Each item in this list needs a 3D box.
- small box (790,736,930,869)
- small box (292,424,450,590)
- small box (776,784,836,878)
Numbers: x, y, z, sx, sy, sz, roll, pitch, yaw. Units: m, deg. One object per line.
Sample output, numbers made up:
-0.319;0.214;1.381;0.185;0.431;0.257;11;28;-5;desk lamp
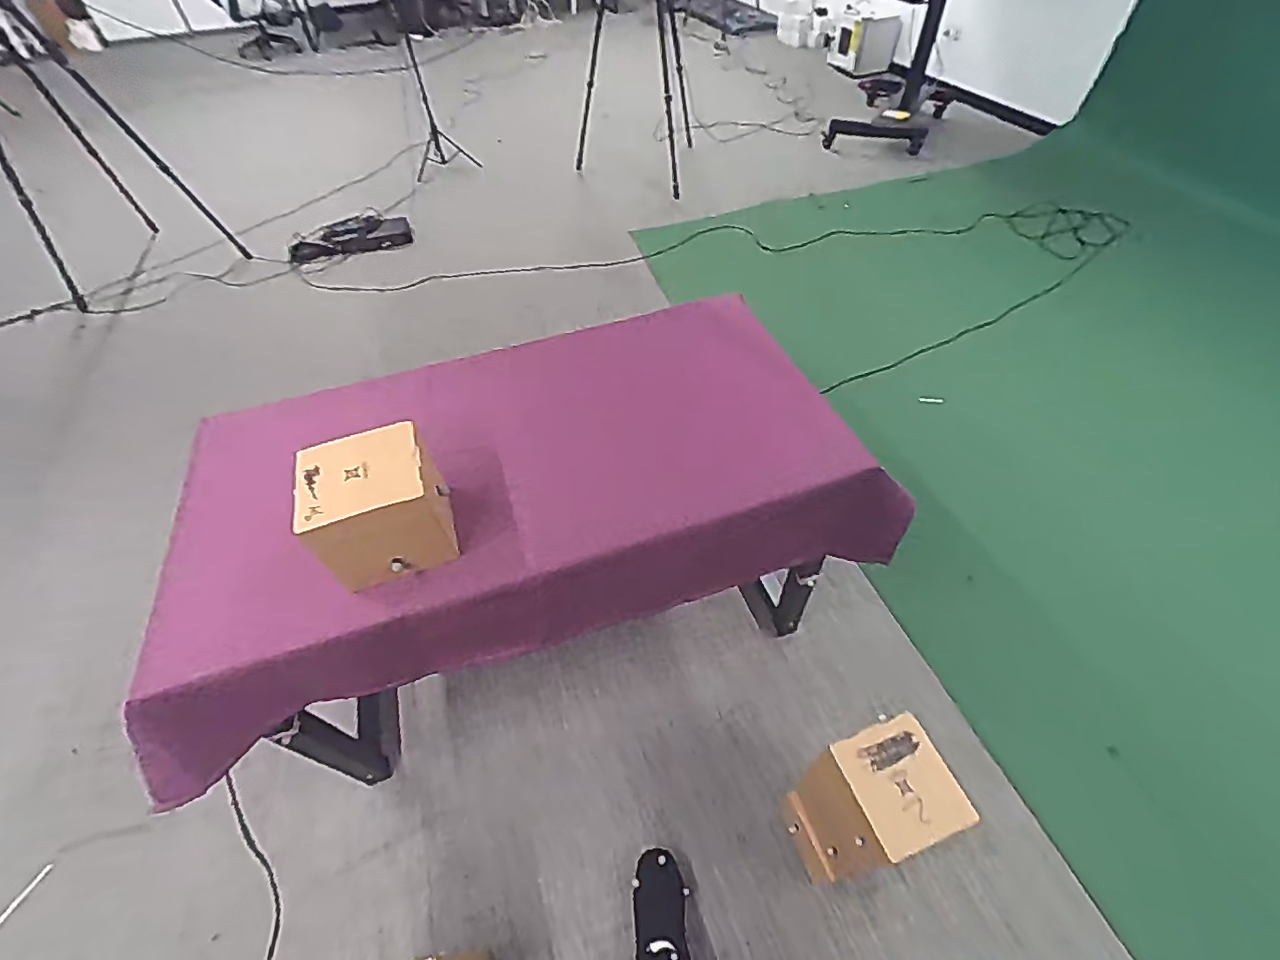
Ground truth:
0.418;0.637;1.061;0.168;0.176;0.179;-15;51;-12;small box
-0.410;0.044;0.848;0.179;0.176;0.168;-17;52;-12;small box
0.415;0.743;1.184;0.179;0.176;0.168;-17;52;-12;small box
